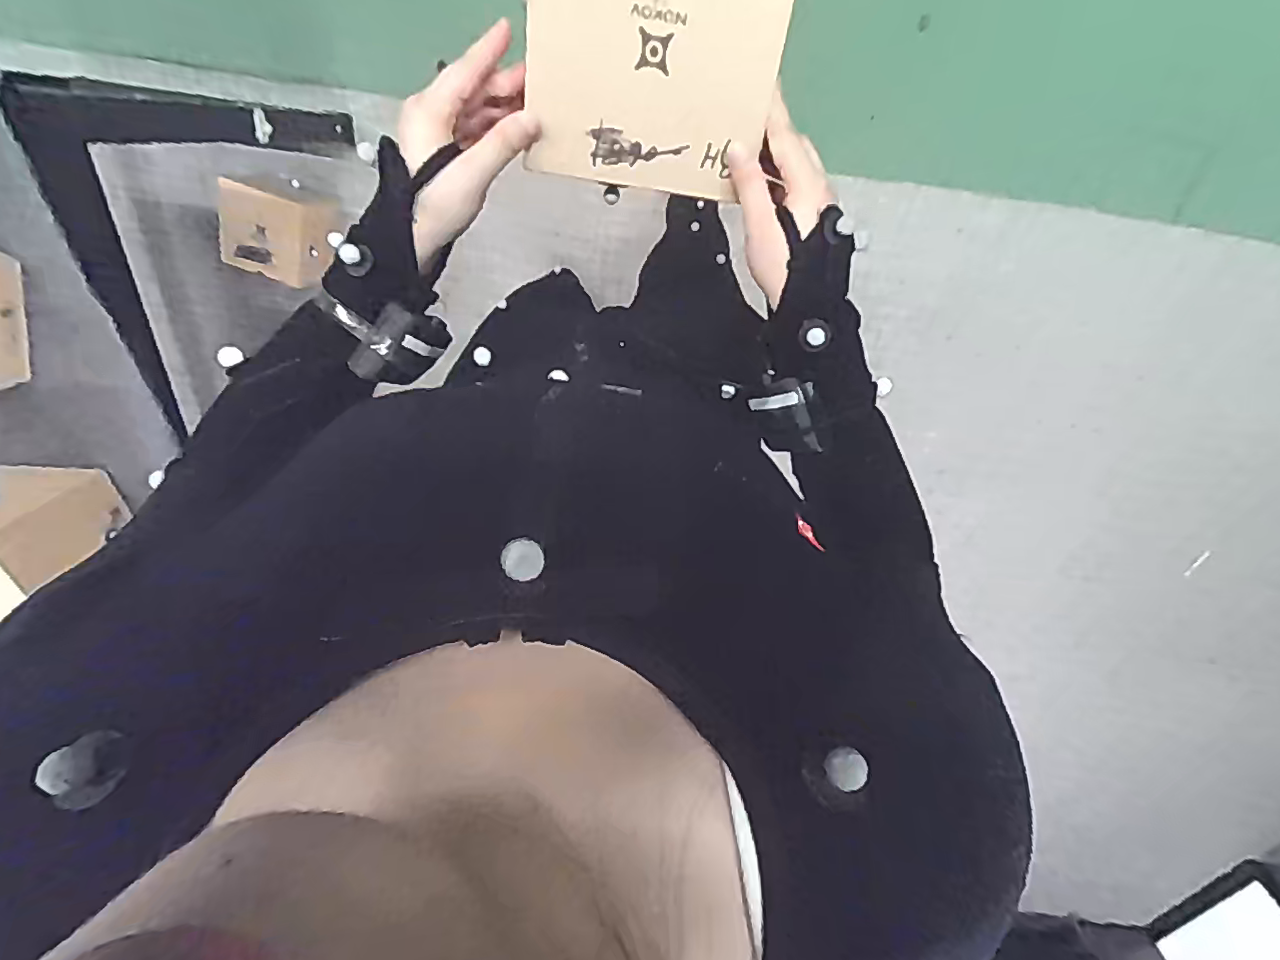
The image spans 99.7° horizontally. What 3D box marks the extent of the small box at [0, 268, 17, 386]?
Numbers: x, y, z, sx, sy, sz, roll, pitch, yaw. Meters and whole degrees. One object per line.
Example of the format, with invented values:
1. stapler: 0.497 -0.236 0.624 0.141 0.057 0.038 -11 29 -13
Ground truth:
1. small box: -0.820 -0.174 0.563 0.179 0.176 0.168 27 119 -11

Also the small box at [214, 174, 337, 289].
1. small box: -0.794 -0.549 1.191 0.168 0.176 0.179 18 119 -10

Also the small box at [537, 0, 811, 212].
1. small box: 0.015 -0.321 0.410 0.168 0.176 0.179 5 122 -8
